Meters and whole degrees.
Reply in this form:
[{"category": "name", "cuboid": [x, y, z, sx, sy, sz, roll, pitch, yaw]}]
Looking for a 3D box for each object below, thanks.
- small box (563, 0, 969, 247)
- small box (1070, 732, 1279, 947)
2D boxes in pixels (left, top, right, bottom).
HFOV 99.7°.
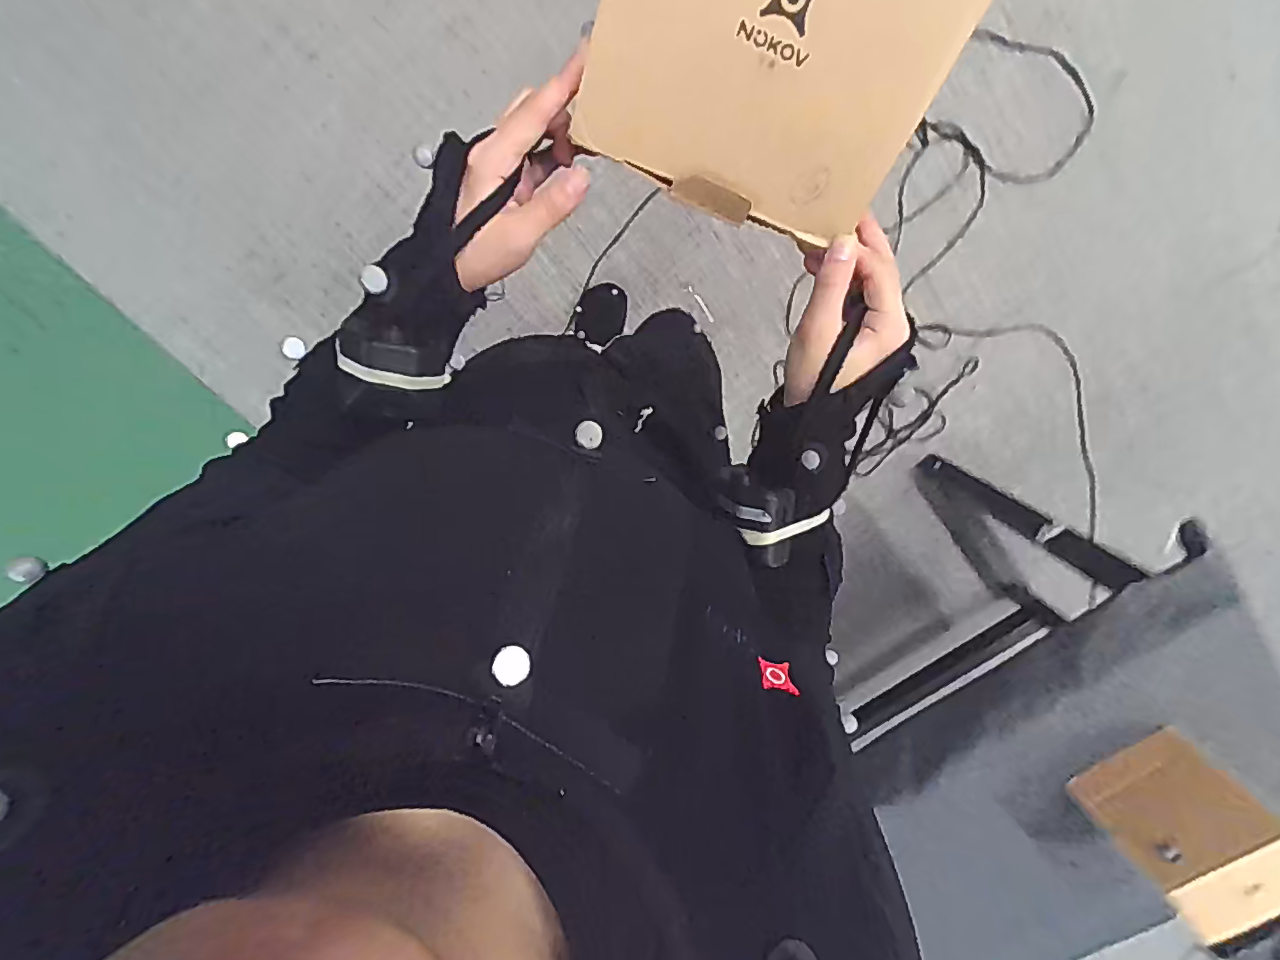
[{"category": "small box", "cuboid": [0.067, -0.269, 0.309, 0.168, 0.176, 0.179, 16, 127, -10]}, {"category": "small box", "cuboid": [0.784, 0.505, 0.776, 0.179, 0.176, 0.168, -39, 109, 12]}]
